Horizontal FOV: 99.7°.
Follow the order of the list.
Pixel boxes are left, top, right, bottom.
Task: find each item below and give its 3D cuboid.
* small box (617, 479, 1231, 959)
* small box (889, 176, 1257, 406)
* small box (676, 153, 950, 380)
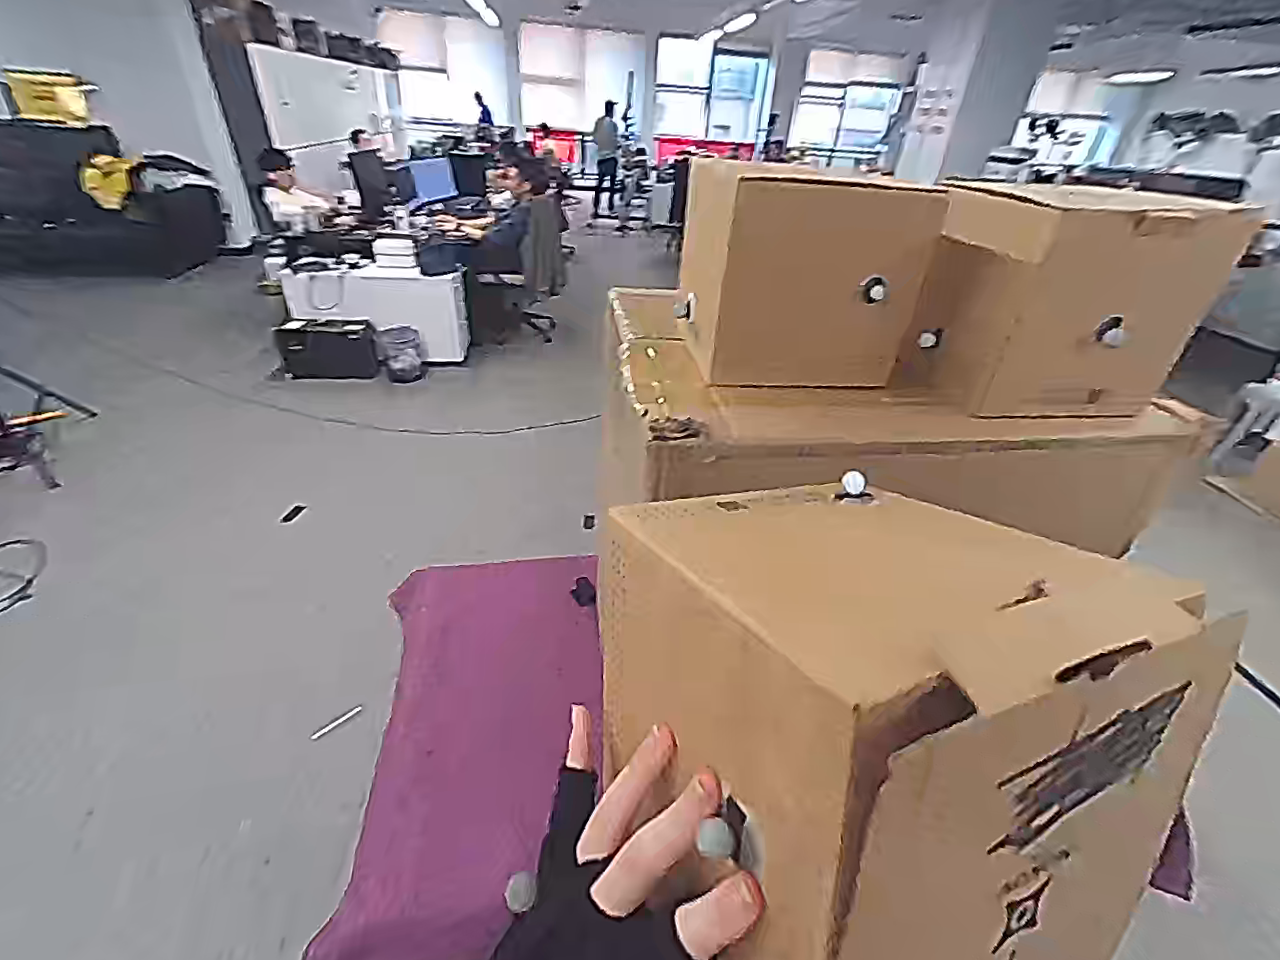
[{"bbox_3d":[0.094,0.099,0.242,0.168,0.179,0.176,-5,15,-23],"label":"small box"},{"bbox_3d":[0.364,-0.177,0.502,0.168,0.176,0.179,-2,35,-6],"label":"small box"},{"bbox_3d":[0.140,-0.201,0.513,0.179,0.176,0.168,-2,34,-8],"label":"small box"}]
